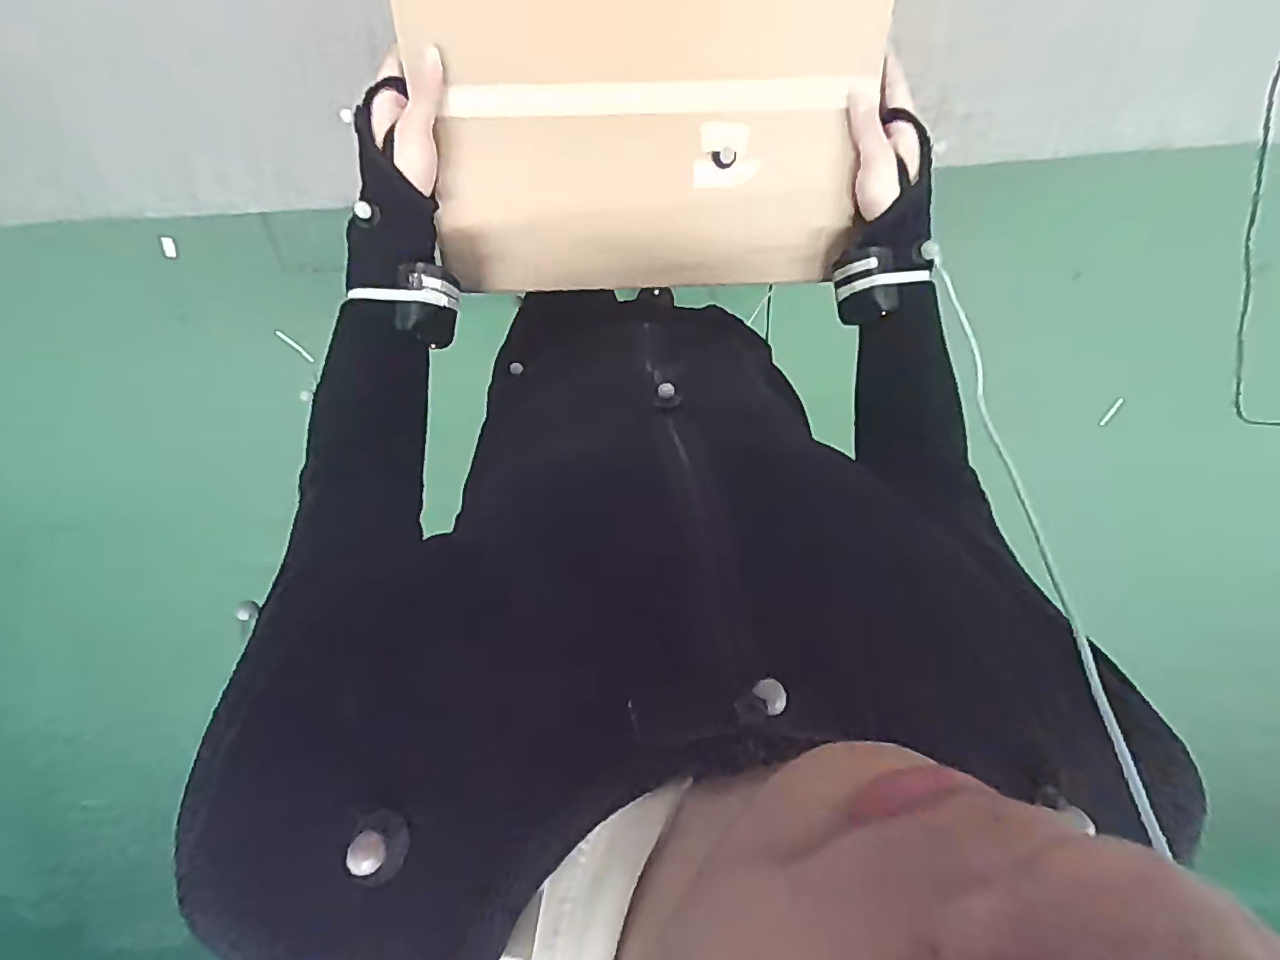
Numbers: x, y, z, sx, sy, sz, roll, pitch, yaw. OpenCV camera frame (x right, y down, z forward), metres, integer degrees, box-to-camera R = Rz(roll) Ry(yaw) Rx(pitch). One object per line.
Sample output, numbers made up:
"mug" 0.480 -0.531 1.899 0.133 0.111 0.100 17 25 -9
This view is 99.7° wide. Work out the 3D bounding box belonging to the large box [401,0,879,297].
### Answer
"large box" -0.006 -0.402 0.613 0.408 0.320 0.320 -3 119 -3
